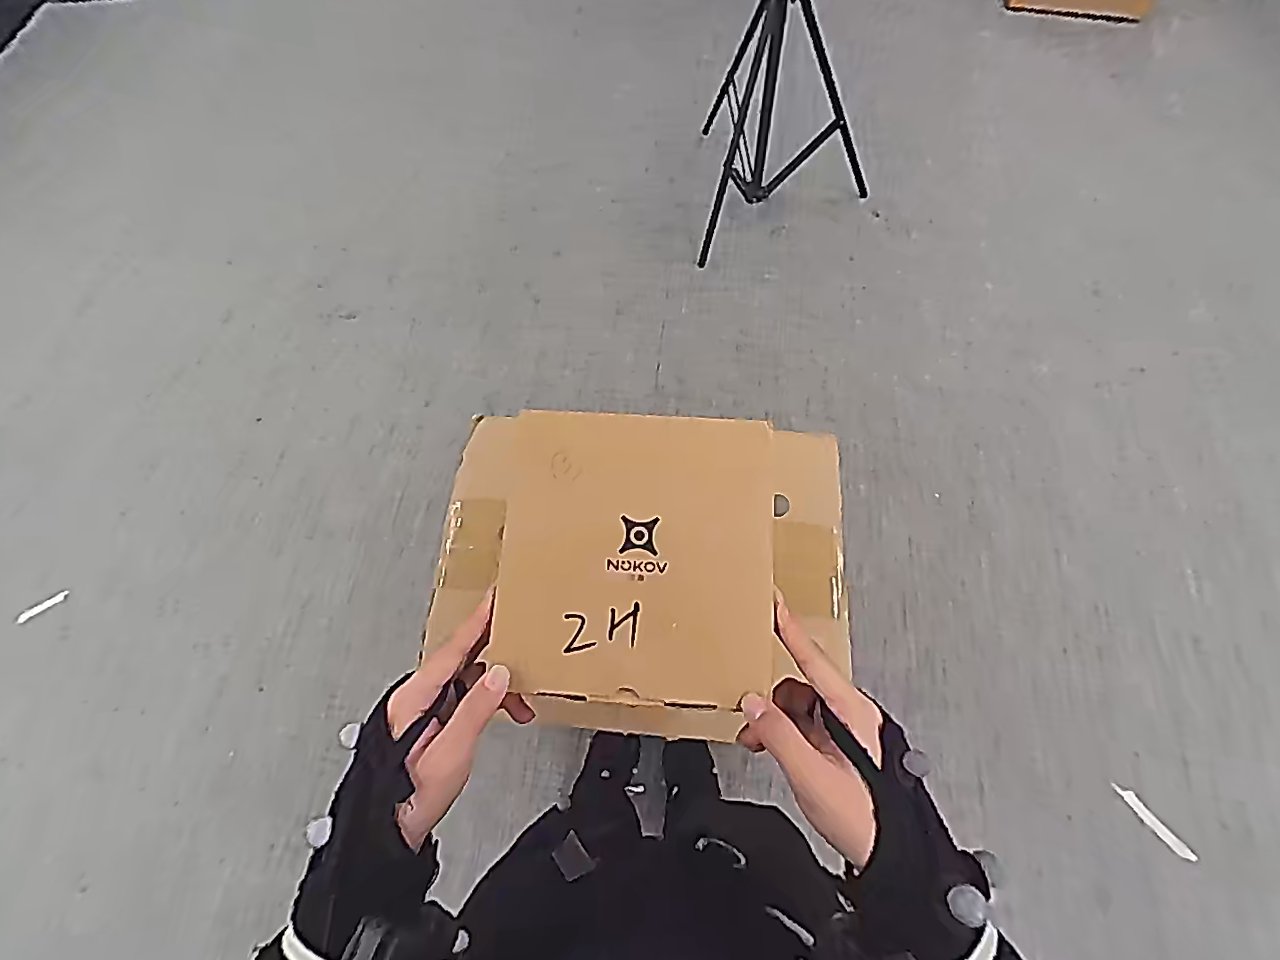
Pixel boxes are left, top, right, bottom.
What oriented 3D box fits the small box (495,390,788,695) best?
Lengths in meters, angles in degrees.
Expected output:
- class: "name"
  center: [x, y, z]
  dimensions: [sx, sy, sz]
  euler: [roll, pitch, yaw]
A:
- class: "small box"
  center: [0.008, 0.052, 0.402]
  dimensions: [0.168, 0.176, 0.179]
  euler: [4, 74, 4]
